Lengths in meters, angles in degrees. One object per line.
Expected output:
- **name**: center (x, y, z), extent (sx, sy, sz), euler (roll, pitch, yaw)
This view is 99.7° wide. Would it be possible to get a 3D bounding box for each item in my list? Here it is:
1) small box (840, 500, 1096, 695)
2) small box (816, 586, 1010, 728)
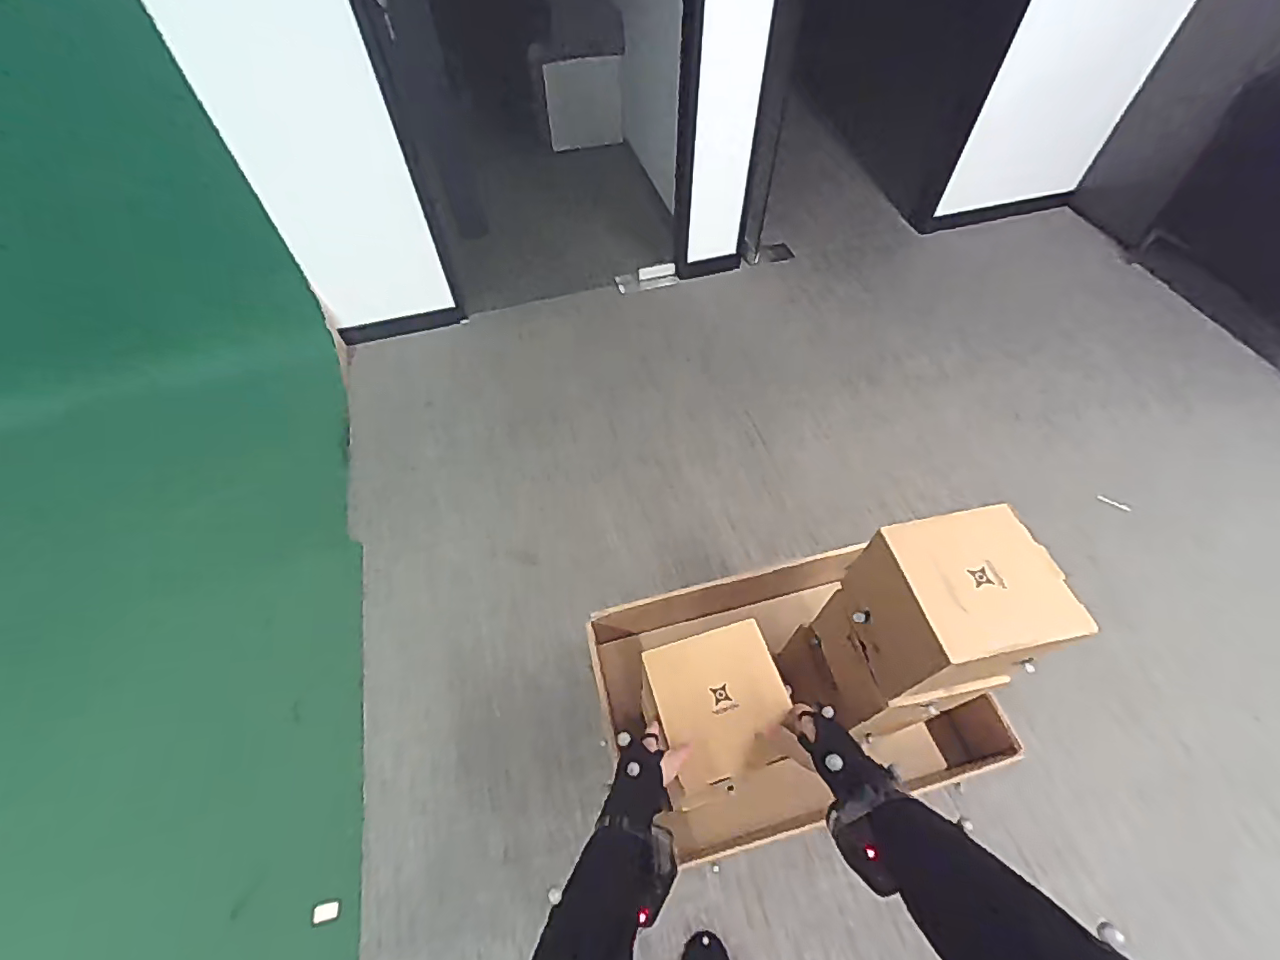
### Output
- **small box**: center (0.377, 0.147, 0.662), extent (0.179, 0.176, 0.168), euler (-10, 55, -6)
- **small box**: center (0.375, 0.249, 0.790), extent (0.179, 0.176, 0.168), euler (-9, 56, -6)
